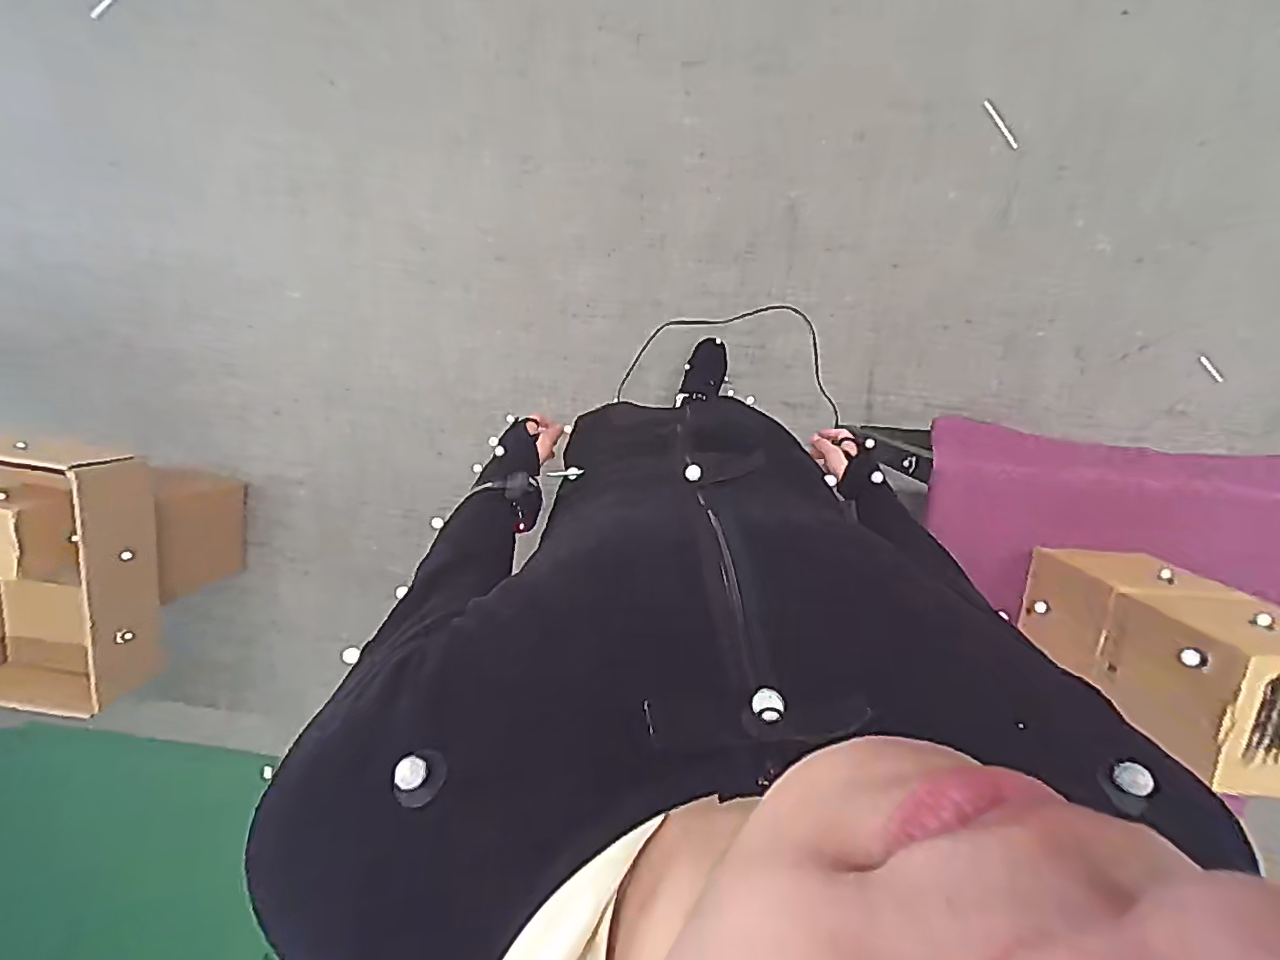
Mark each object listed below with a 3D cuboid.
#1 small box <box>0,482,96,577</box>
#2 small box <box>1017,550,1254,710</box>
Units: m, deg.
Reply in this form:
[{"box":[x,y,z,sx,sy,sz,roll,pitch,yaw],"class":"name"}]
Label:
[{"box":[-1.417,0.105,1.241,0.179,0.176,0.168,9,101,1],"class":"small box"},{"box":[0.711,0.211,0.799,0.179,0.176,0.168,4,102,3],"class":"small box"}]
